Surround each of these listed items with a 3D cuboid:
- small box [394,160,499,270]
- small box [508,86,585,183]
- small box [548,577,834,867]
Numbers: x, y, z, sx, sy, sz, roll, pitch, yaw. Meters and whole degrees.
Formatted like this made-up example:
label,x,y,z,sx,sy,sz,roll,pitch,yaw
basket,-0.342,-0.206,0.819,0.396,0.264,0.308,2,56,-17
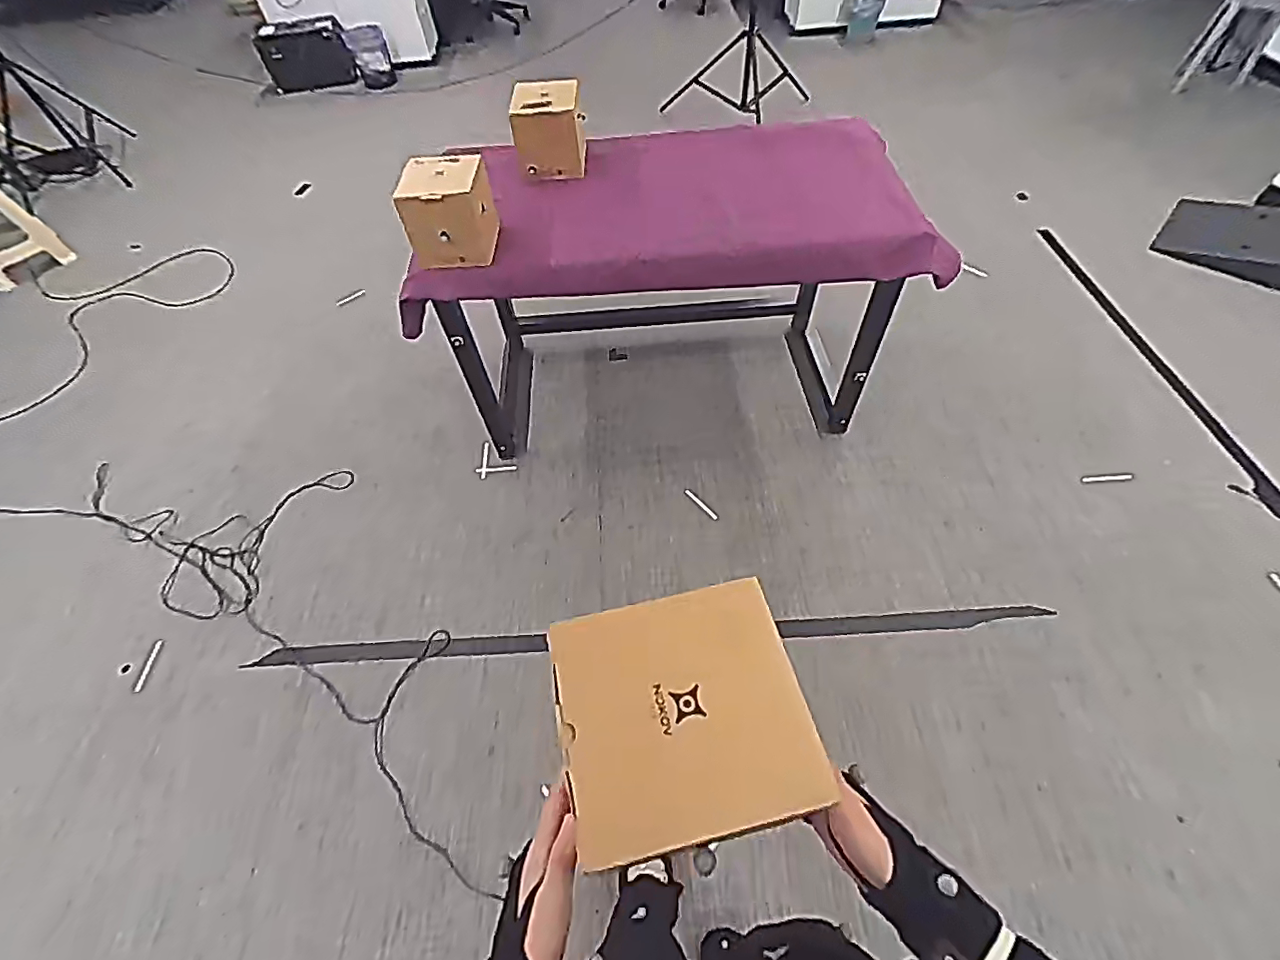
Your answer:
label,x,y,z,sx,sy,sz,roll,pitch,yaw
small box,-0.430,-0.597,1.234,0.168,0.176,0.179,-3,55,1
small box,-0.241,-0.915,1.442,0.168,0.176,0.179,-2,56,2
small box,0.031,0.204,0.458,0.179,0.176,0.168,-13,56,-5
